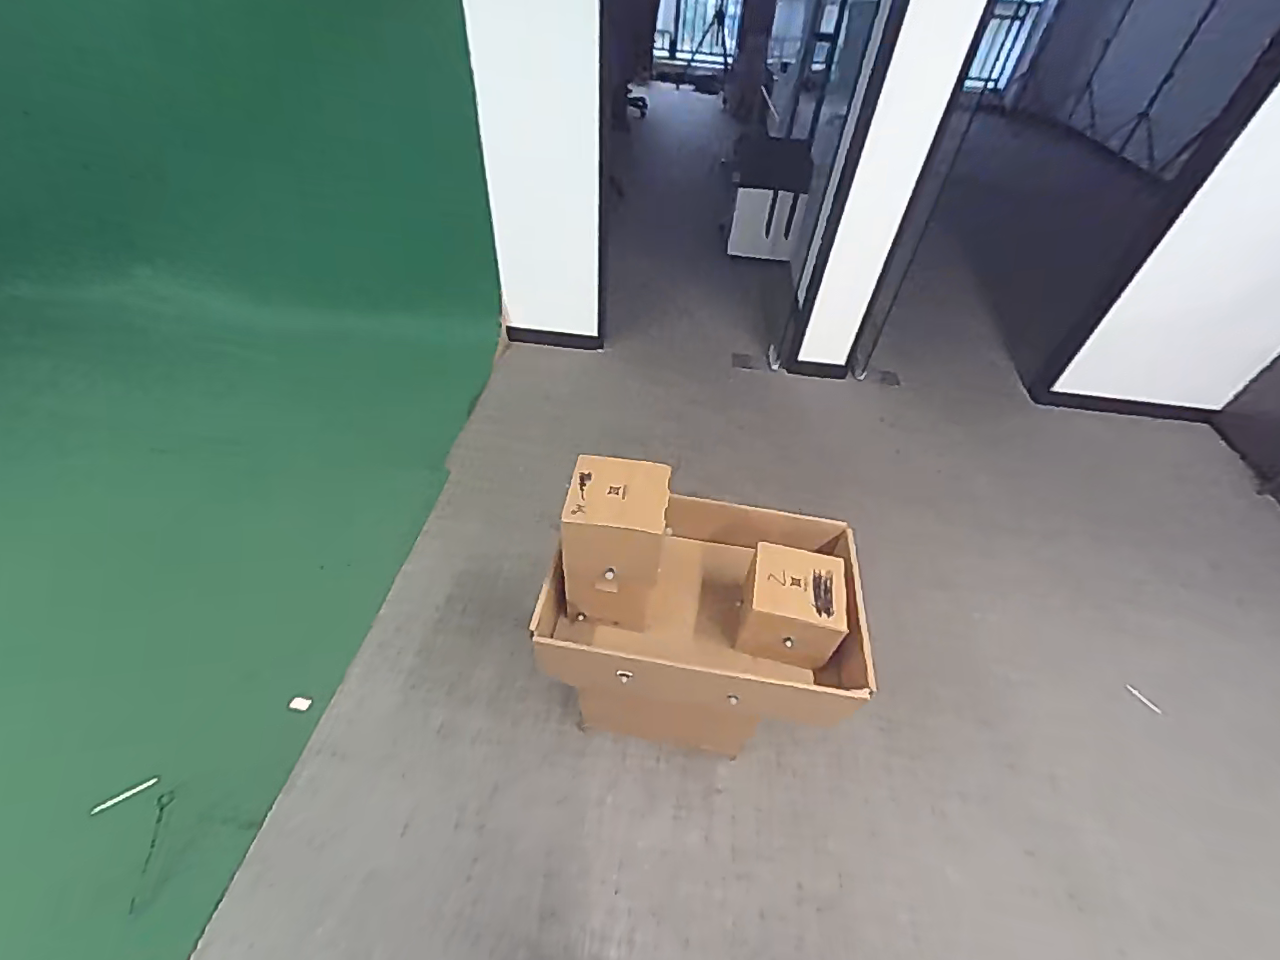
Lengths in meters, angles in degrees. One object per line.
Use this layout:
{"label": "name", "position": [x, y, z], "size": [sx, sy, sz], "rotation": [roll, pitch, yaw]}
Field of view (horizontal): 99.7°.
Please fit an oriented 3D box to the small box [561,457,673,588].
{"label": "small box", "position": [-0.041, 0.083, 1.005], "size": [0.179, 0.176, 0.168], "rotation": [8, 45, 2]}
